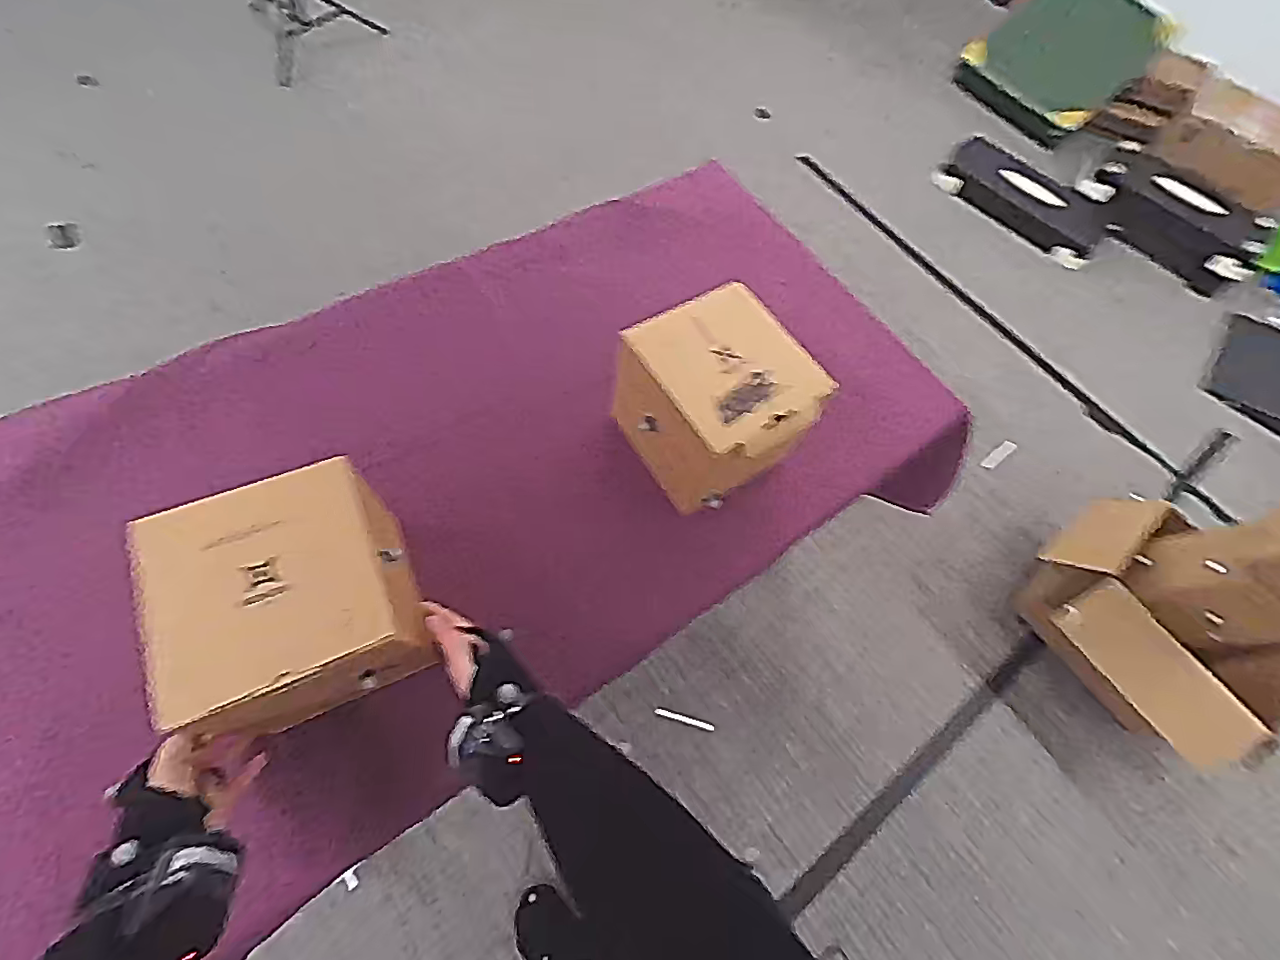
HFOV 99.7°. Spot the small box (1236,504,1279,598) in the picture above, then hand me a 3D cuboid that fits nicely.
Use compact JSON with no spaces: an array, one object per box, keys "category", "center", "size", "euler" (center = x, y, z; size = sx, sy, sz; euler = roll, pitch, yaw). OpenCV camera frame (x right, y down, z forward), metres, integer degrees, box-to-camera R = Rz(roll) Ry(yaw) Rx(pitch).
[{"category":"small box","center":[1.231,0.130,0.948],"size":[0.168,0.176,0.179],"euler":[-41,80,-18]}]

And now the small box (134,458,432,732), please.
[{"category":"small box","center":[-0.311,0.111,0.505],"size":[0.168,0.176,0.179],"euler":[-21,70,-17]}]

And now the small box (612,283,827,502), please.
[{"category":"small box","center":[0.080,-0.092,0.650],"size":[0.168,0.176,0.179],"euler":[-29,71,-19]}]

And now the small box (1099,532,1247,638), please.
[{"category":"small box","center":[1.227,0.252,1.256],"size":[0.179,0.176,0.168],"euler":[33,69,4]}]
